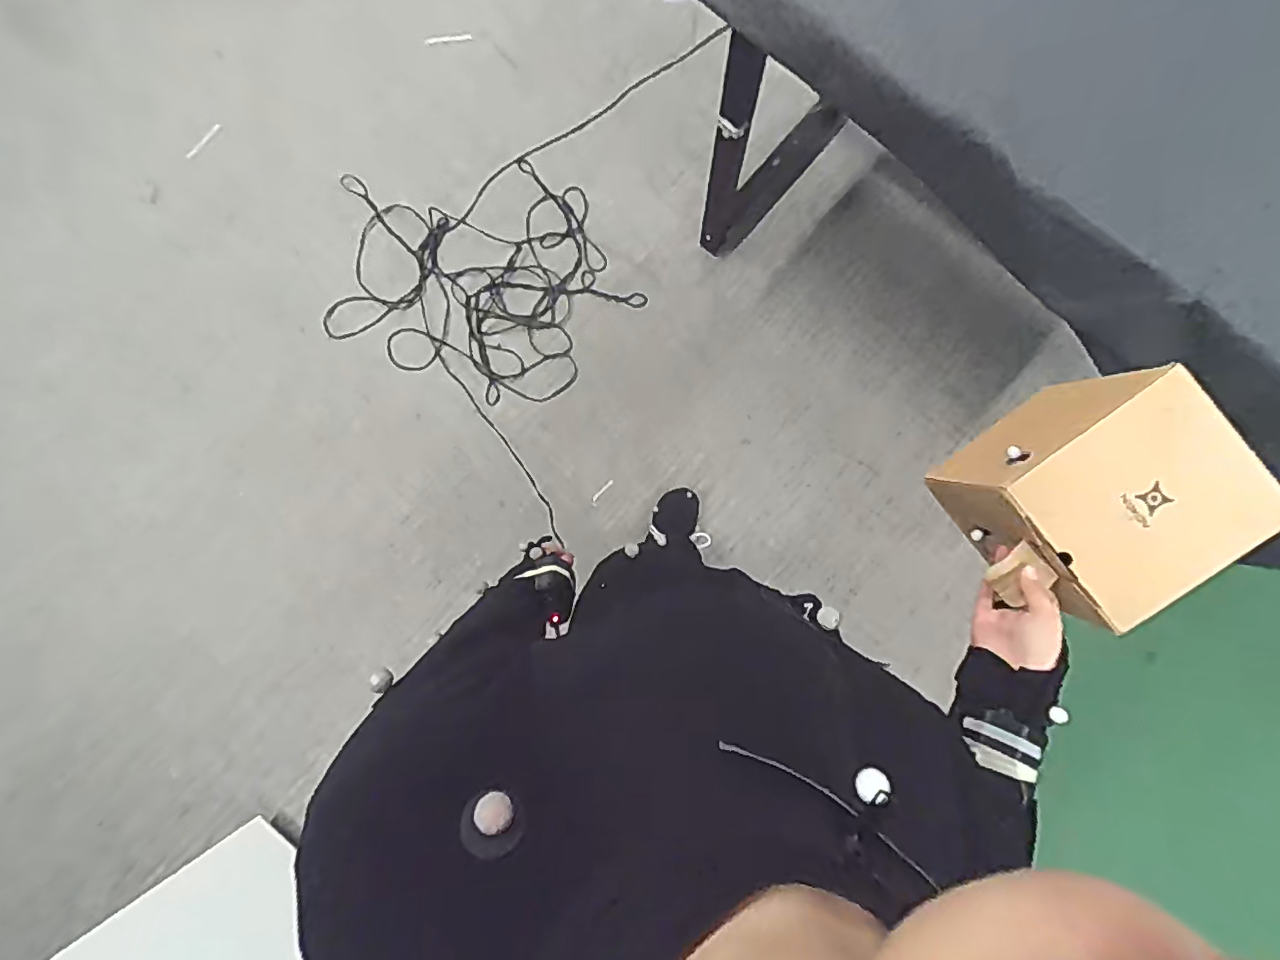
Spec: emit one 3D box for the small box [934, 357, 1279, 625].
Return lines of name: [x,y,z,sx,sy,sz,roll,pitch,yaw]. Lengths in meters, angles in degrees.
small box: [0.441,0.005,0.537,0.179,0.176,0.168,-39,89,7]
